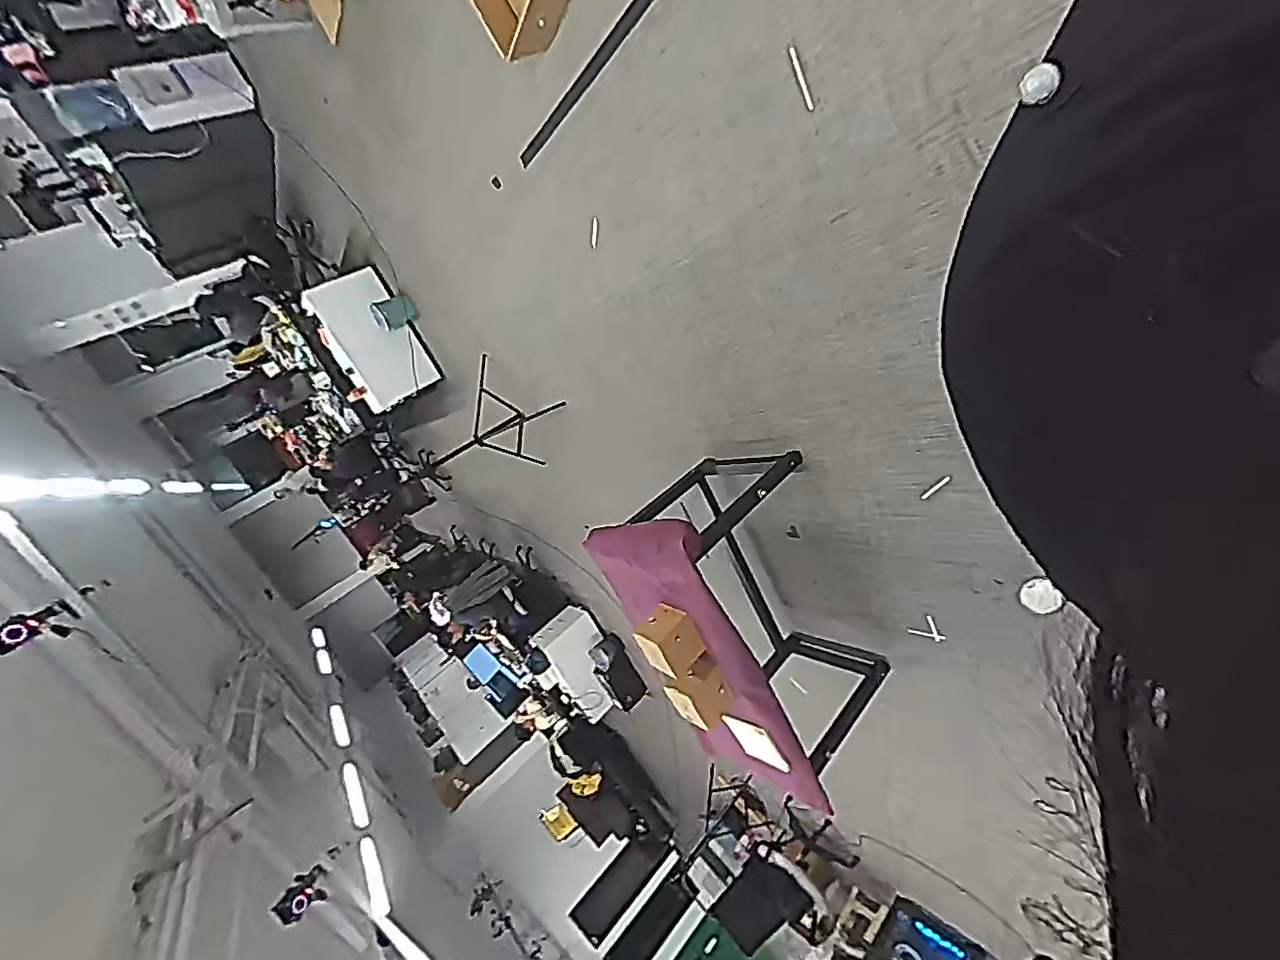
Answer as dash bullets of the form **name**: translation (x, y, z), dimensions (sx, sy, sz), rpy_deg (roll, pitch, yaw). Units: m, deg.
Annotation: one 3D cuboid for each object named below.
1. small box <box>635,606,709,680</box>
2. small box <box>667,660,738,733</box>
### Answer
- **small box**: translation (0.120, 0.590, 1.986), dimensions (0.168, 0.176, 0.179), rpy_deg (5, 128, 57)
- **small box**: translation (0.241, 0.814, 2.062), dimensions (0.168, 0.176, 0.179), rpy_deg (-1, 121, 58)
